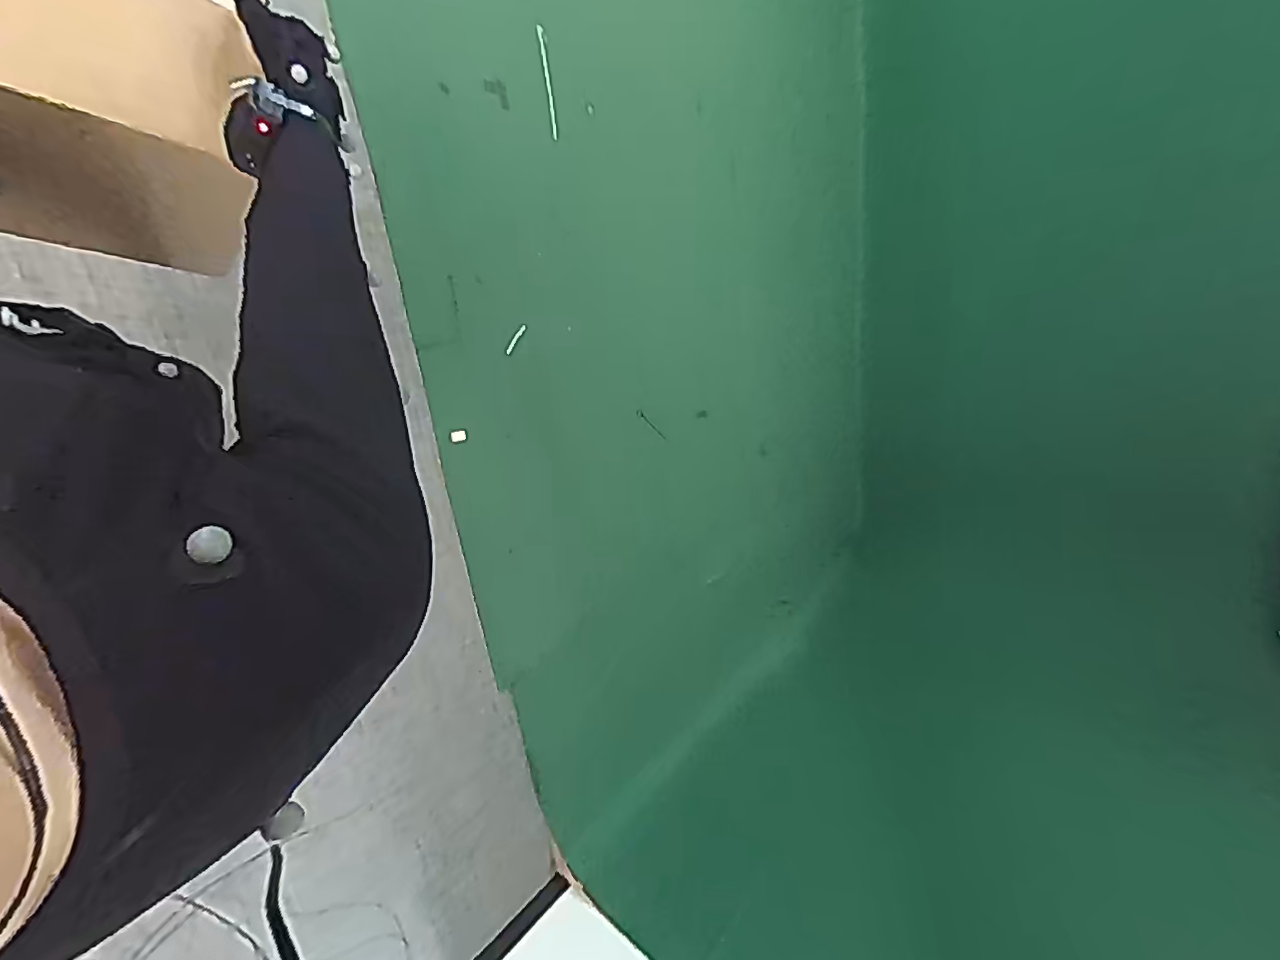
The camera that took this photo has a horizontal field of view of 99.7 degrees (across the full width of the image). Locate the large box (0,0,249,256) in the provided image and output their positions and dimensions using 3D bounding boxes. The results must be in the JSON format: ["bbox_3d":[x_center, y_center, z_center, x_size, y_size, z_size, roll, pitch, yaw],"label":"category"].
[{"bbox_3d":[-0.635,-0.454,0.501,0.408,0.320,0.320,-1,86,-44],"label":"large box"}]
